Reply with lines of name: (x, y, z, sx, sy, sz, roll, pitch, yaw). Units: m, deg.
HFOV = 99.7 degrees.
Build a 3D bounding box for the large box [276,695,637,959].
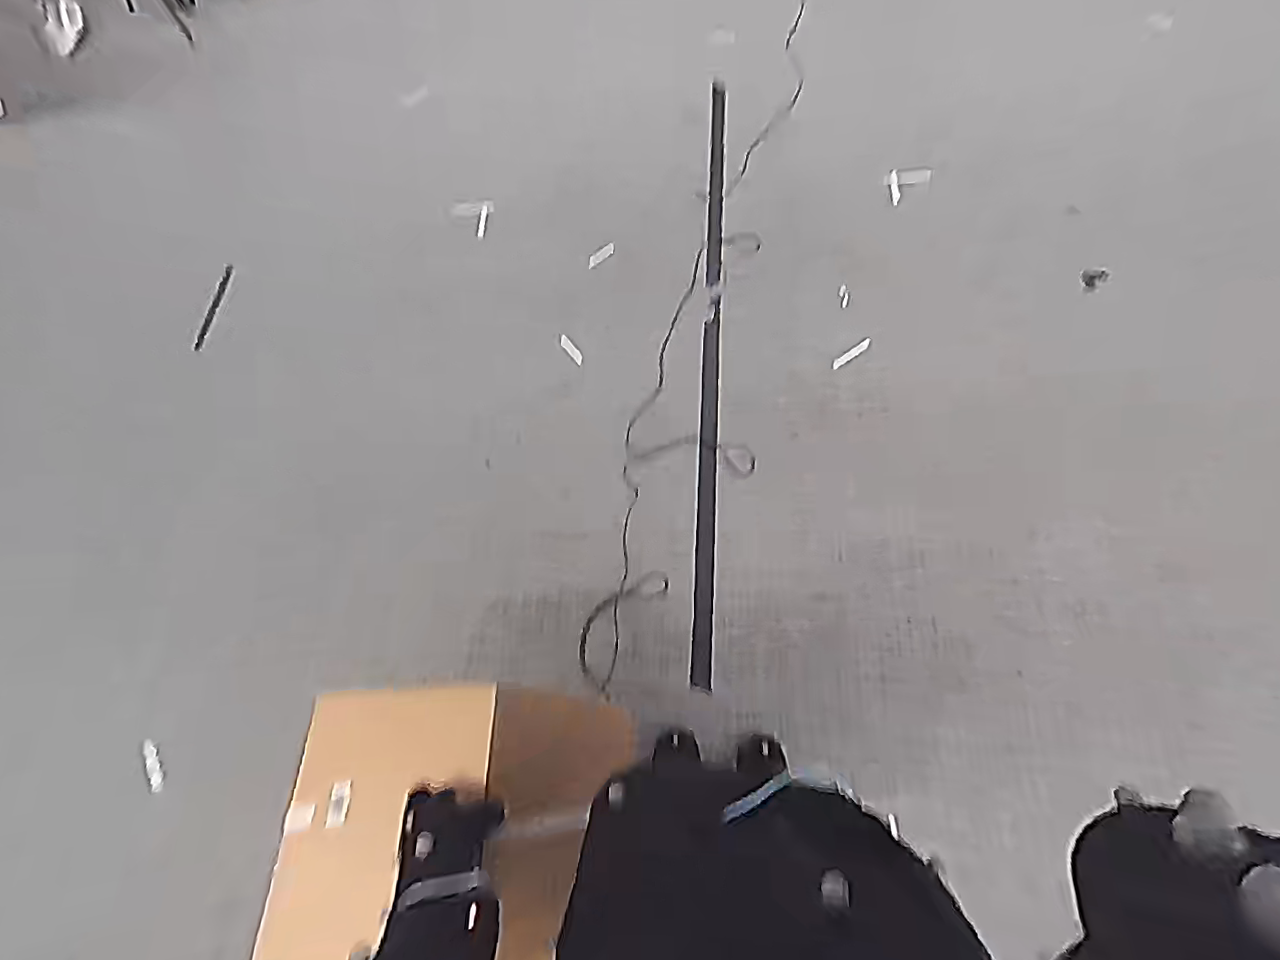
large box: (-0.226, 0.503, 0.812, 0.320, 0.408, 0.320, -9, 63, 21)
